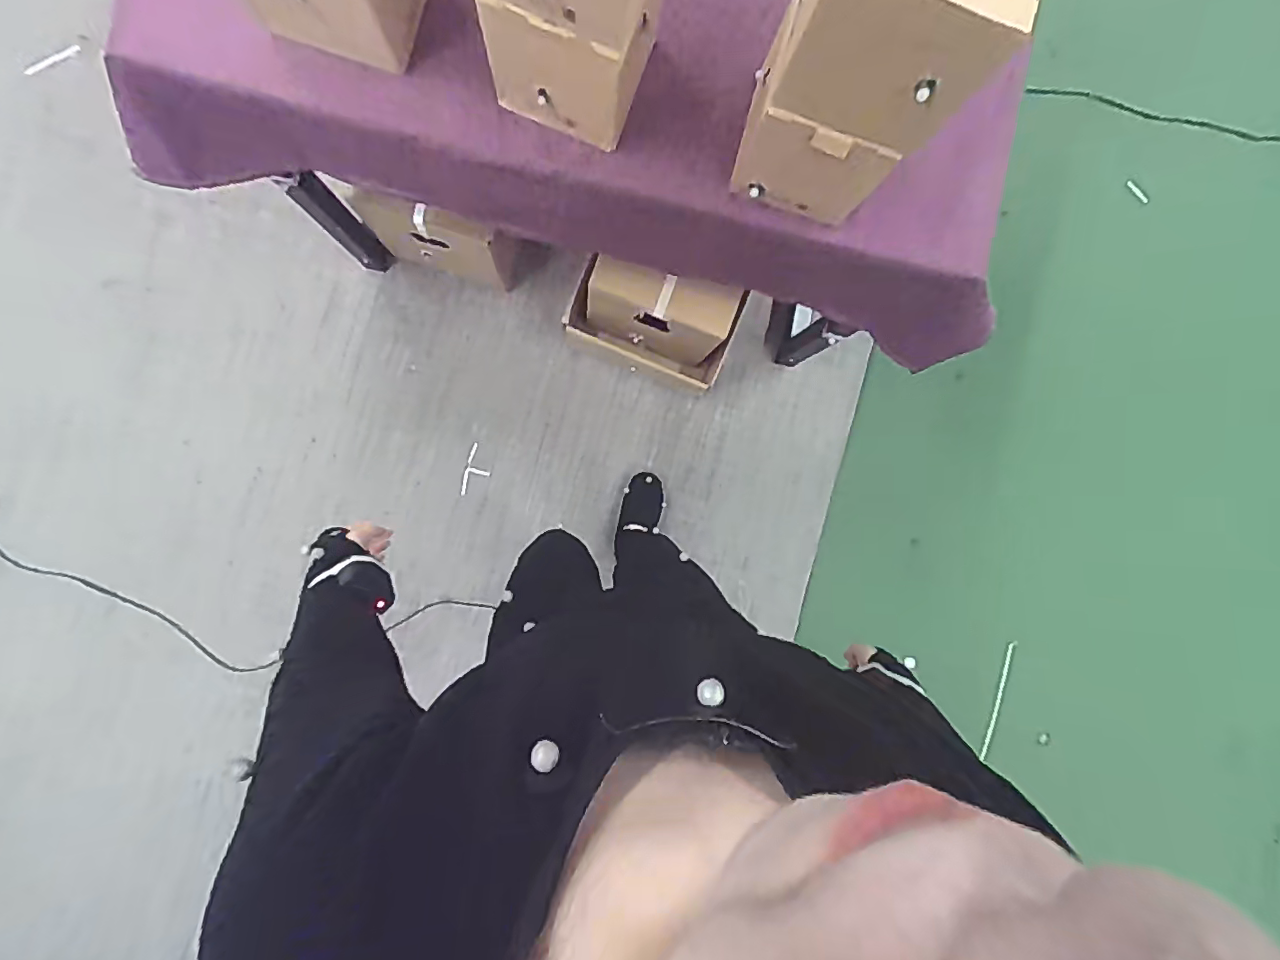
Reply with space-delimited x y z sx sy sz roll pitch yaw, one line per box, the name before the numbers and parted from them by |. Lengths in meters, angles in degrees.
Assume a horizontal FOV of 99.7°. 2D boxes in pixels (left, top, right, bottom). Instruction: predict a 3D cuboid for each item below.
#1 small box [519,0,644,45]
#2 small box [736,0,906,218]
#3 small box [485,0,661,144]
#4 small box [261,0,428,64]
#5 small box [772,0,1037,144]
small box | -0.053 -0.566 0.490 0.168 0.176 0.179 21 89 -5
small box | 0.233 -0.468 0.684 0.168 0.176 0.179 15 88 -5
small box | -0.073 -0.562 0.654 0.168 0.176 0.179 20 90 -6
small box | -0.360 -0.634 0.622 0.179 0.176 0.168 15 90 -5
small box | 0.254 -0.467 0.522 0.179 0.176 0.168 17 88 -5
